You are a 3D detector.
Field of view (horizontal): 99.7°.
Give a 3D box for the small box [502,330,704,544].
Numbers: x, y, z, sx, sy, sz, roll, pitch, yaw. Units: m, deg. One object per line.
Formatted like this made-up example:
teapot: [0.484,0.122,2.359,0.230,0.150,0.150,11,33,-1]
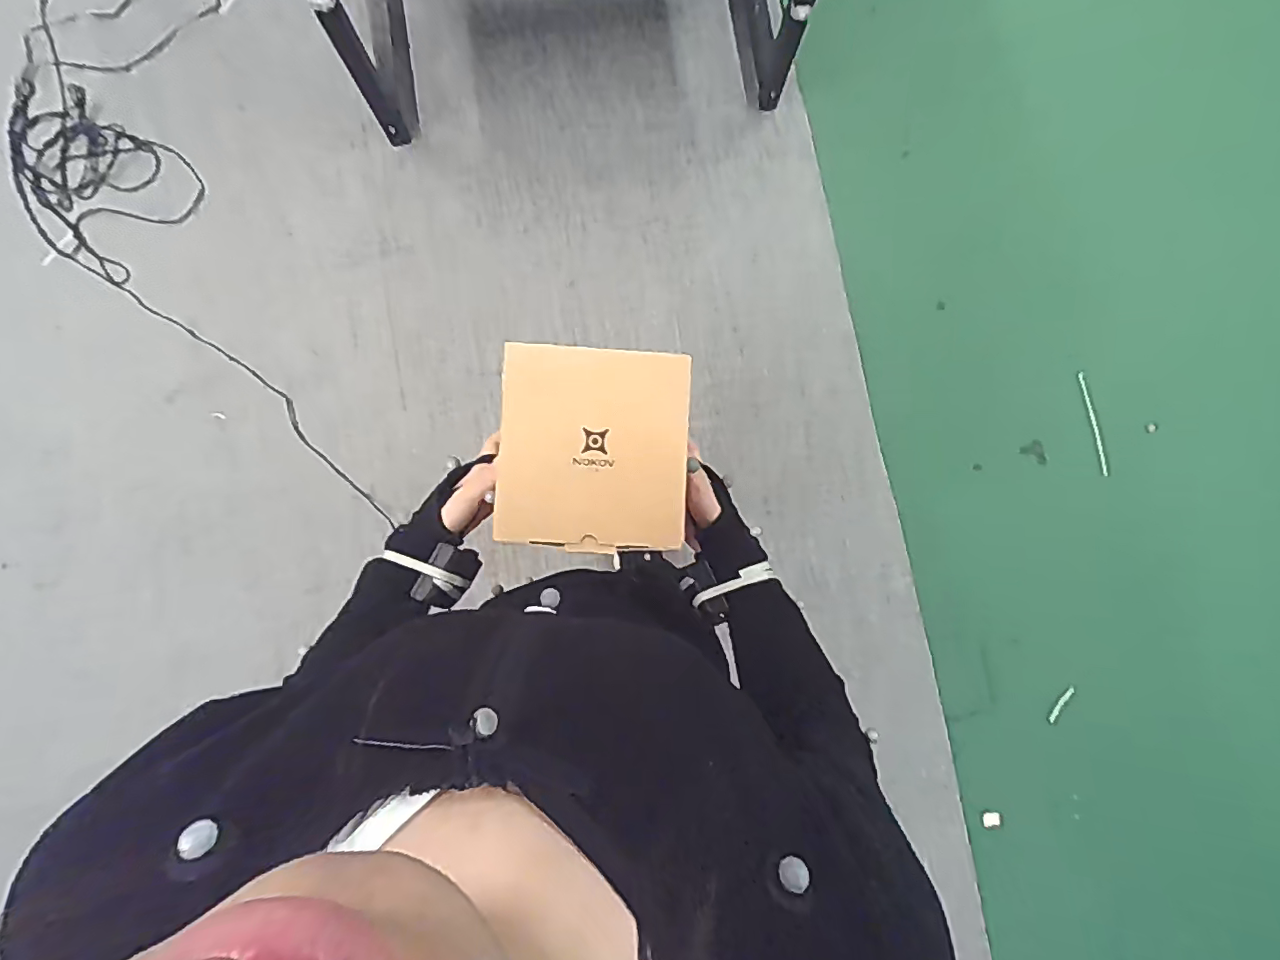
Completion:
small box: [-0.037,-0.031,0.534,0.168,0.176,0.179,2,87,-5]
